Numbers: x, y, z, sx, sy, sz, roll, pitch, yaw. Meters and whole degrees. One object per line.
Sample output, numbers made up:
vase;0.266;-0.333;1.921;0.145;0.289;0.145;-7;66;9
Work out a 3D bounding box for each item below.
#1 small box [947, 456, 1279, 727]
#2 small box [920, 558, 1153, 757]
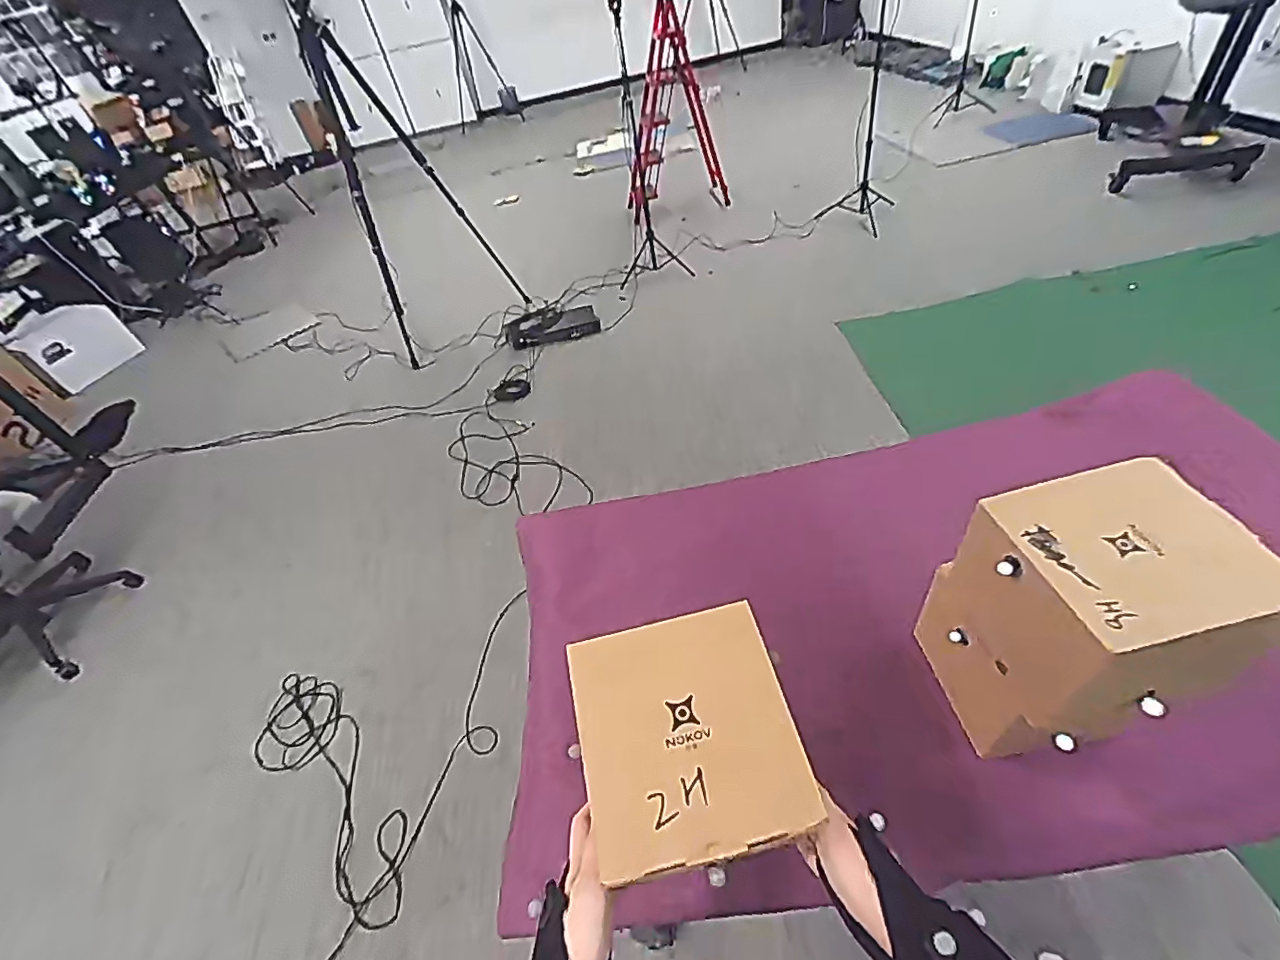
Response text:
small box;0.430;0.107;0.509;0.179;0.176;0.168;-13;44;0
small box;0.462;0.201;0.643;0.168;0.176;0.179;-11;45;3
